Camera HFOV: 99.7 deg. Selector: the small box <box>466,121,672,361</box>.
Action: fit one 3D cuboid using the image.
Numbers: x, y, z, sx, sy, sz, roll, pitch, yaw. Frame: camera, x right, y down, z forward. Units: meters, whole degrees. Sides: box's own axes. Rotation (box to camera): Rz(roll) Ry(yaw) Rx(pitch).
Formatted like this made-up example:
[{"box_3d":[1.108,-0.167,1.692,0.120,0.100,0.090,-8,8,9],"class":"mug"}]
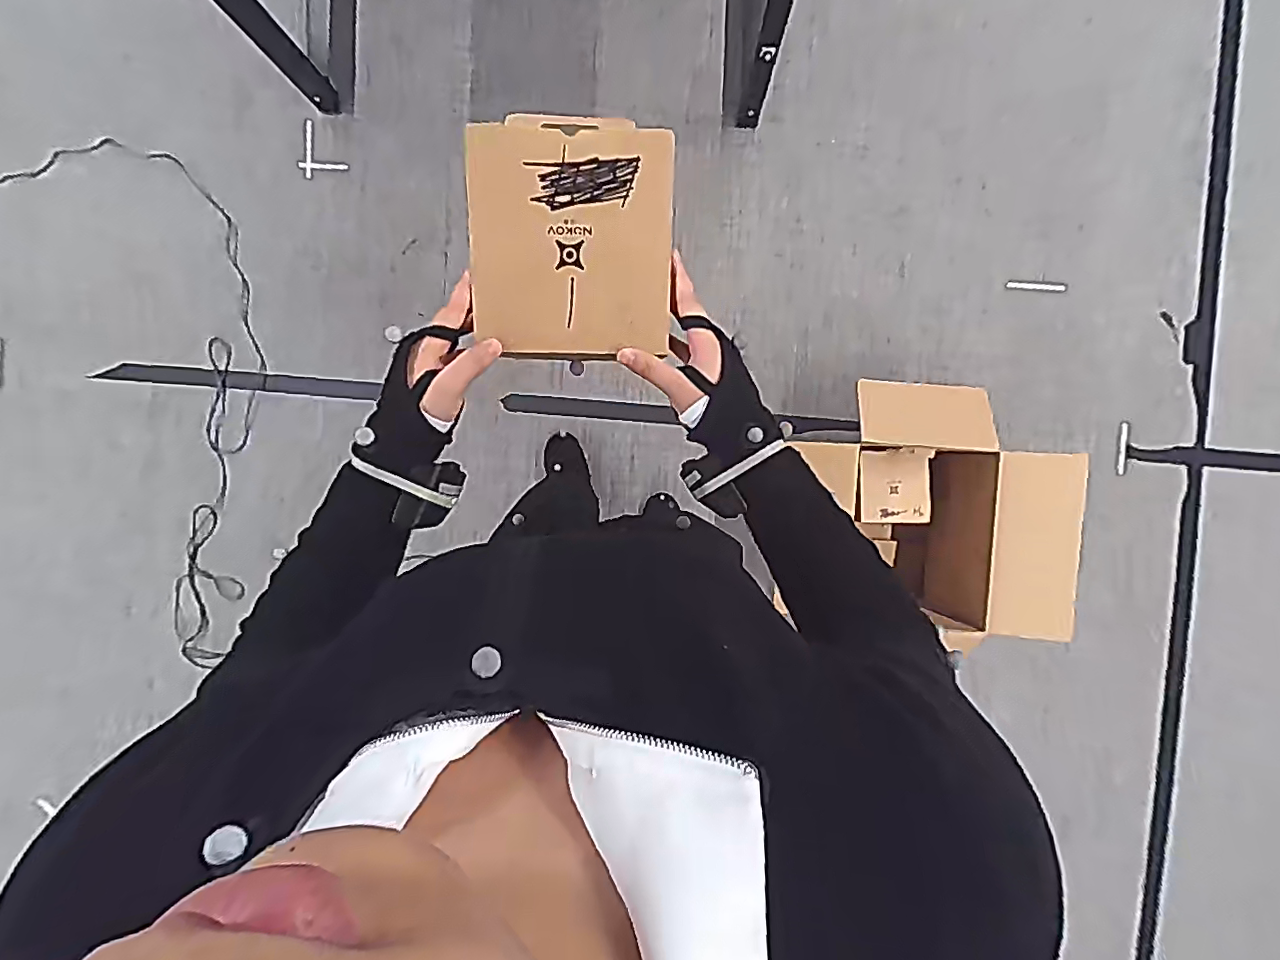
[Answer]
[{"box_3d":[-0.061,-0.208,0.518,0.168,0.176,0.179,1,101,-1],"class":"small box"}]
